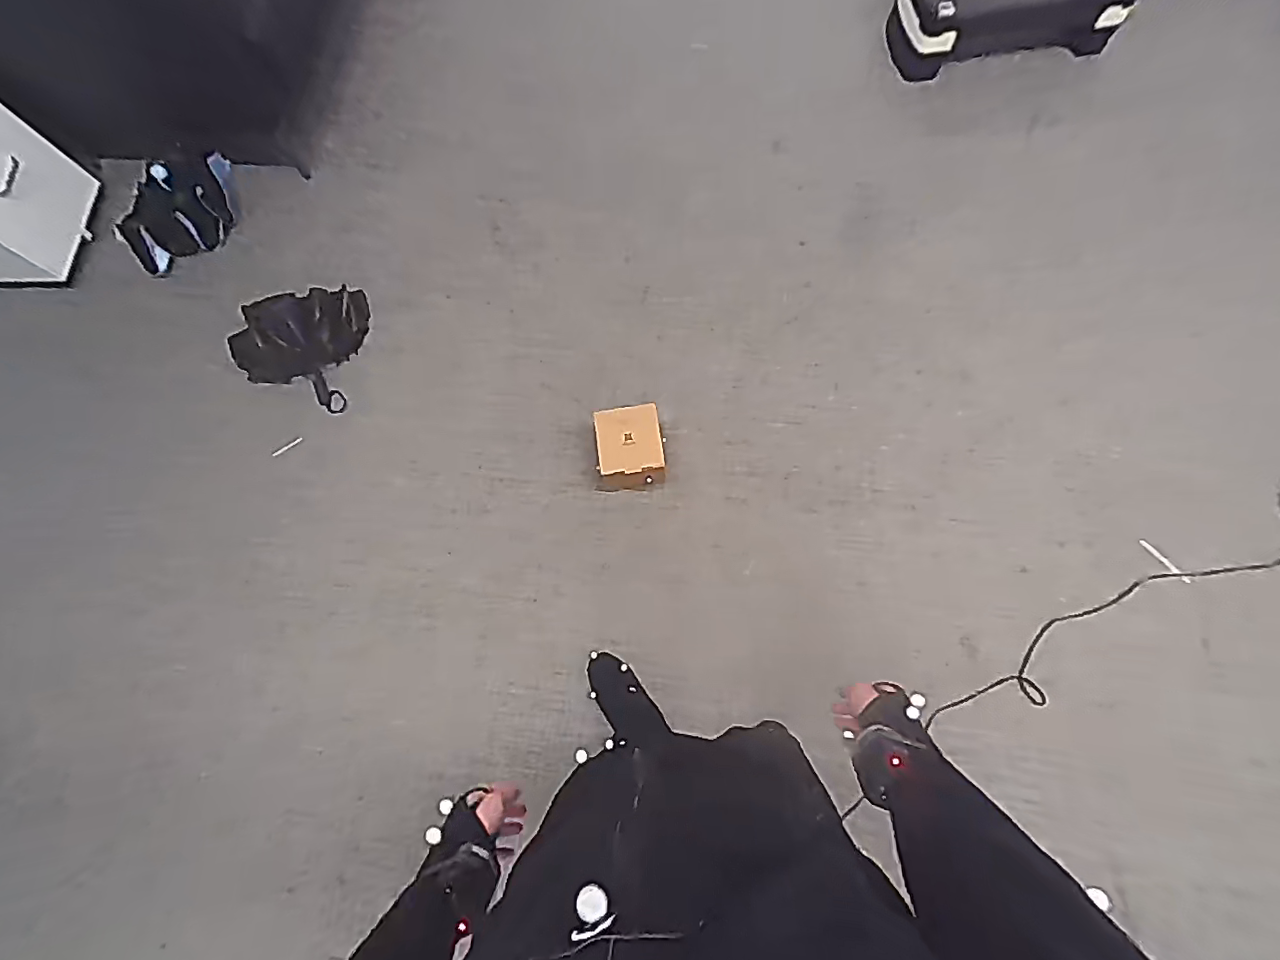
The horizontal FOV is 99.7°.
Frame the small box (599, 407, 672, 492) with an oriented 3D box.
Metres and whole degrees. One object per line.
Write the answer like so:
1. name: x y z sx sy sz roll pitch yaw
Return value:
1. small box: -0.008 -0.073 1.455 0.168 0.176 0.179 -10 72 1
